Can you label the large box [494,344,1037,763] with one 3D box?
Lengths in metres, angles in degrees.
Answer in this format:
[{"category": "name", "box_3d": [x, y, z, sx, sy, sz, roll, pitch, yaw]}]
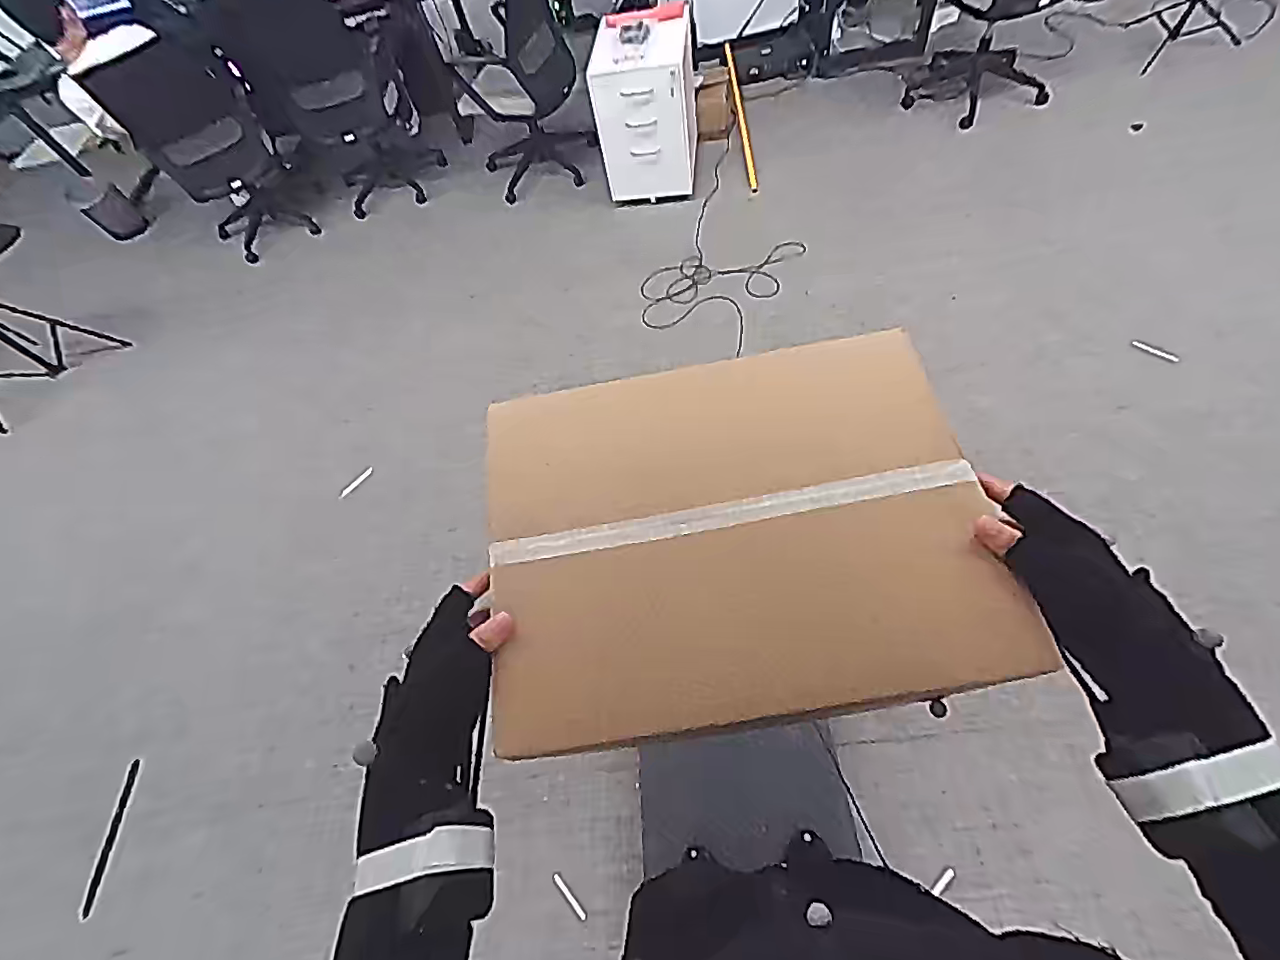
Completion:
[{"category": "large box", "box_3d": [0.090, 0.102, 0.593, 0.408, 0.320, 0.320, -10, 63, 2]}]
